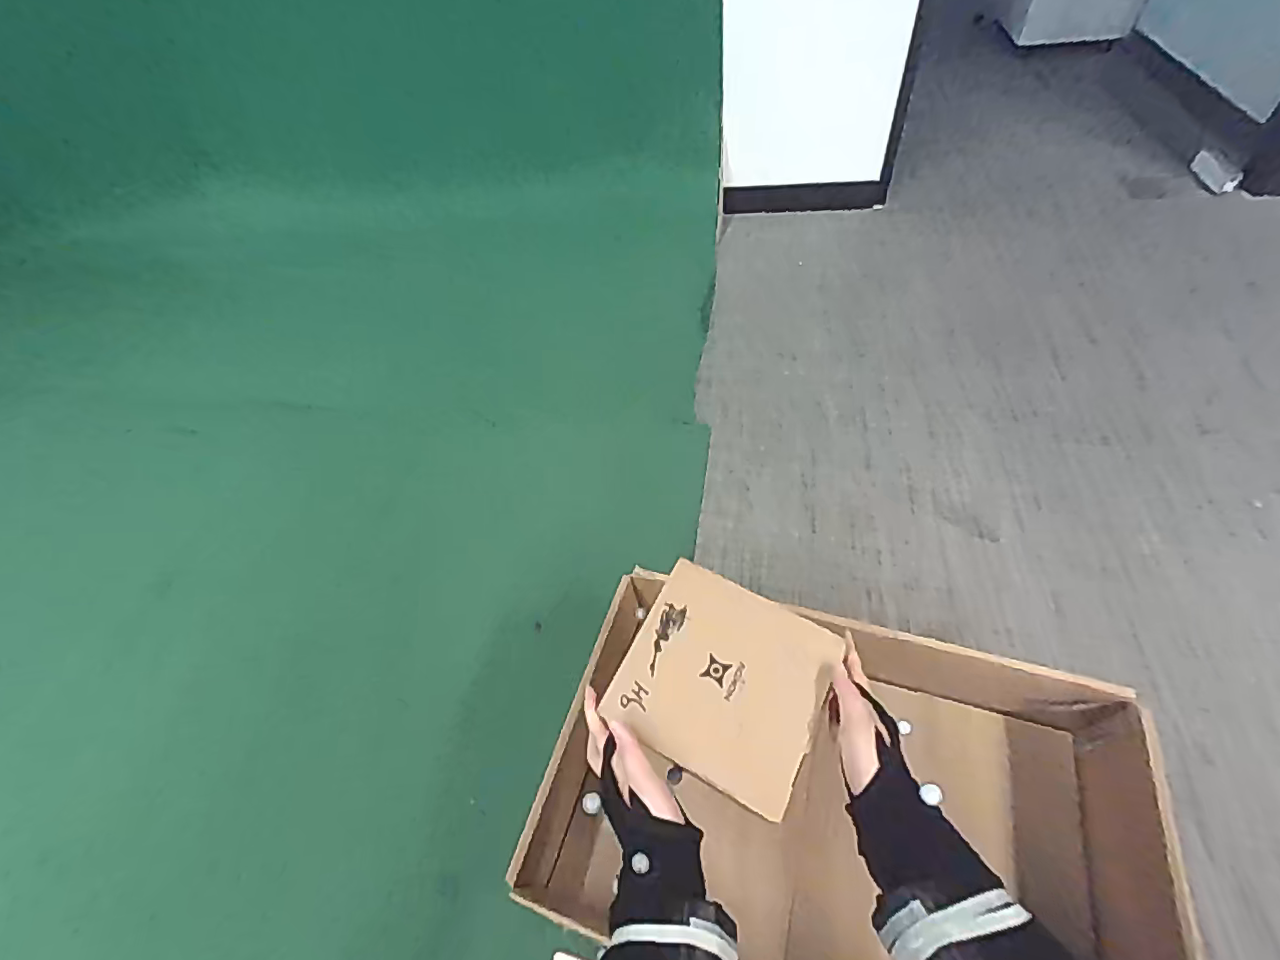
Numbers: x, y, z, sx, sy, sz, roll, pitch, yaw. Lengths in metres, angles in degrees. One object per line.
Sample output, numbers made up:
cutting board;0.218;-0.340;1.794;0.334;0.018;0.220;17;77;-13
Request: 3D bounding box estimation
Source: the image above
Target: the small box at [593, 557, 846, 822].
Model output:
small box;0.078;0.207;0.549;0.179;0.176;0.168;24;68;17
